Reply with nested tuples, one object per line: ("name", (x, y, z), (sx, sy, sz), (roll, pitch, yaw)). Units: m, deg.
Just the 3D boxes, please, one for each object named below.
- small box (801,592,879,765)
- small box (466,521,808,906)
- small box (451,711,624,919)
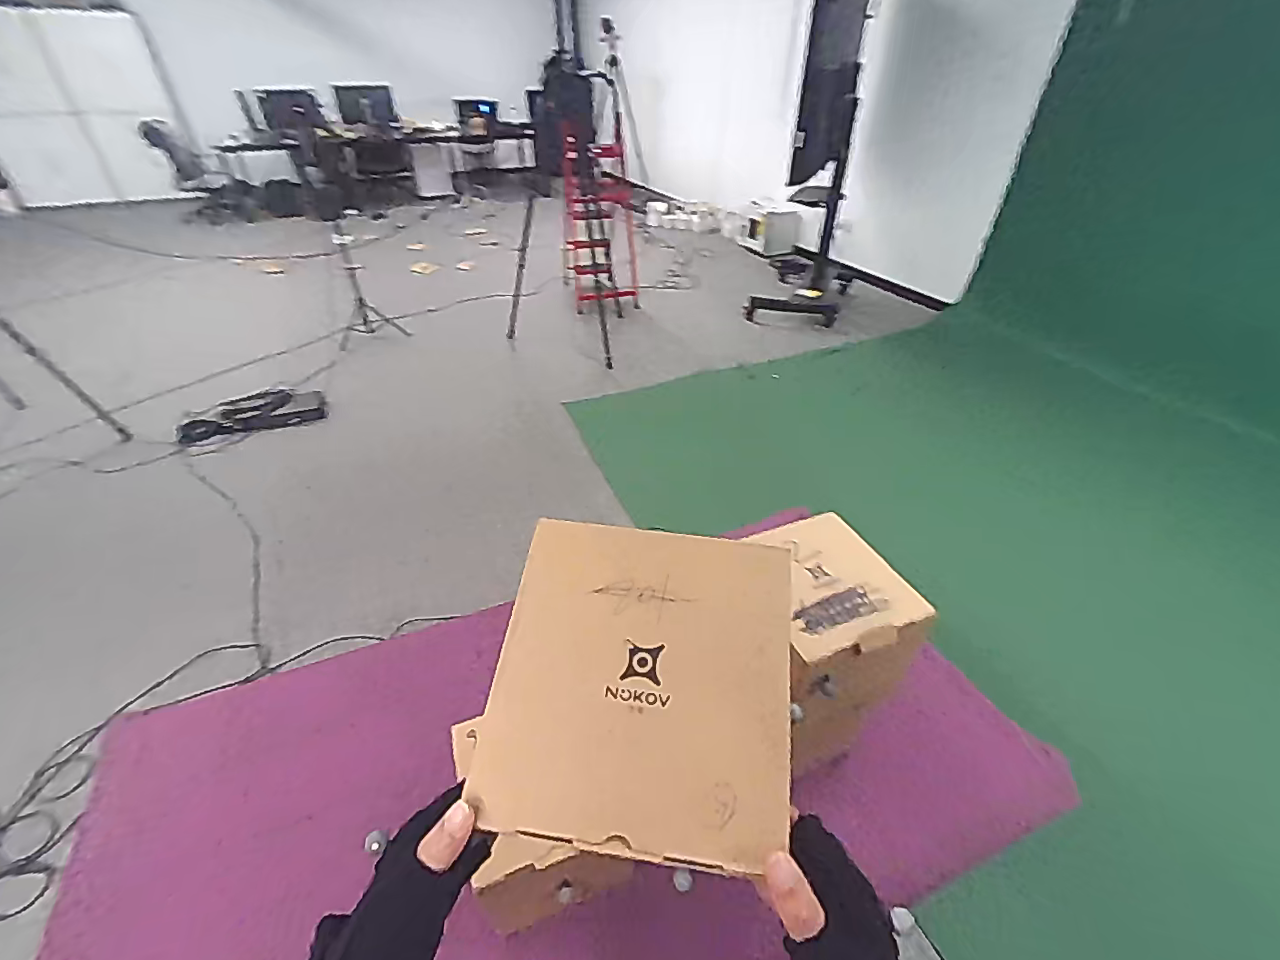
("small box", (0.192, 0.290, 0.759), (0.168, 0.176, 0.179), (-11, 40, -17))
("small box", (0.011, 0.150, 0.365), (0.168, 0.176, 0.179), (7, 59, 7))
("small box", (-0.116, 0.382, 0.642), (0.168, 0.176, 0.179), (-13, 41, -17))
